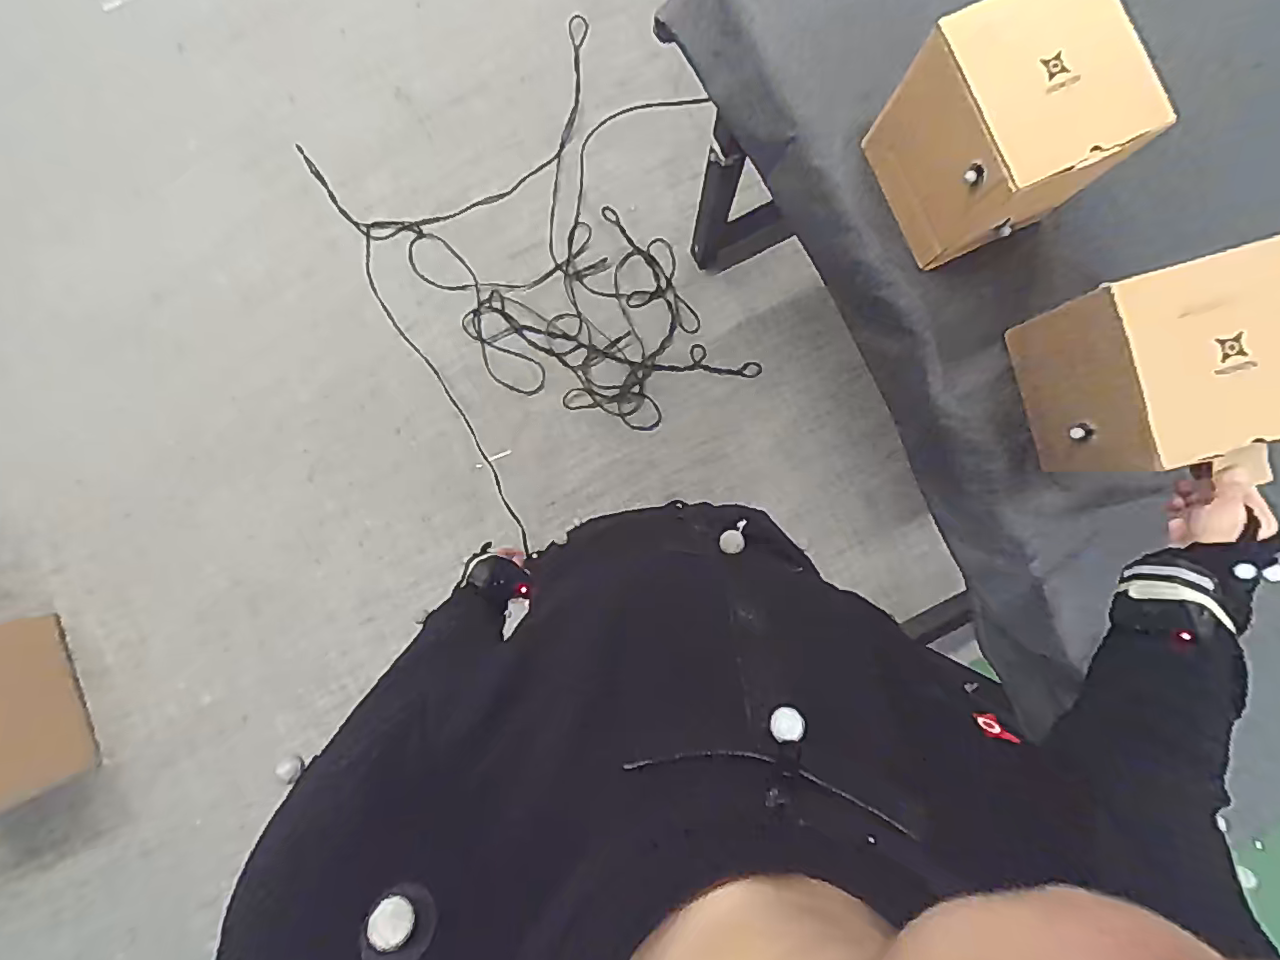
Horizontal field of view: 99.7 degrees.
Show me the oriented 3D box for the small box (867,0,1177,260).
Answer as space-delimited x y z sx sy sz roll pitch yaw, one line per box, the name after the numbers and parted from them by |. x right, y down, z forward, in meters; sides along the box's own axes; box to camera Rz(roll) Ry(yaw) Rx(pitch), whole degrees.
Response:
0.372 -0.369 0.564 0.168 0.176 0.179 -25 89 -2 | small box

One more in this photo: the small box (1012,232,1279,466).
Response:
0.524 -0.116 0.546 0.168 0.176 0.179 -15 88 4 | small box

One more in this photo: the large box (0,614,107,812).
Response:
-1.540 0.565 1.216 0.320 0.320 0.408 -20 86 -1 | large box
